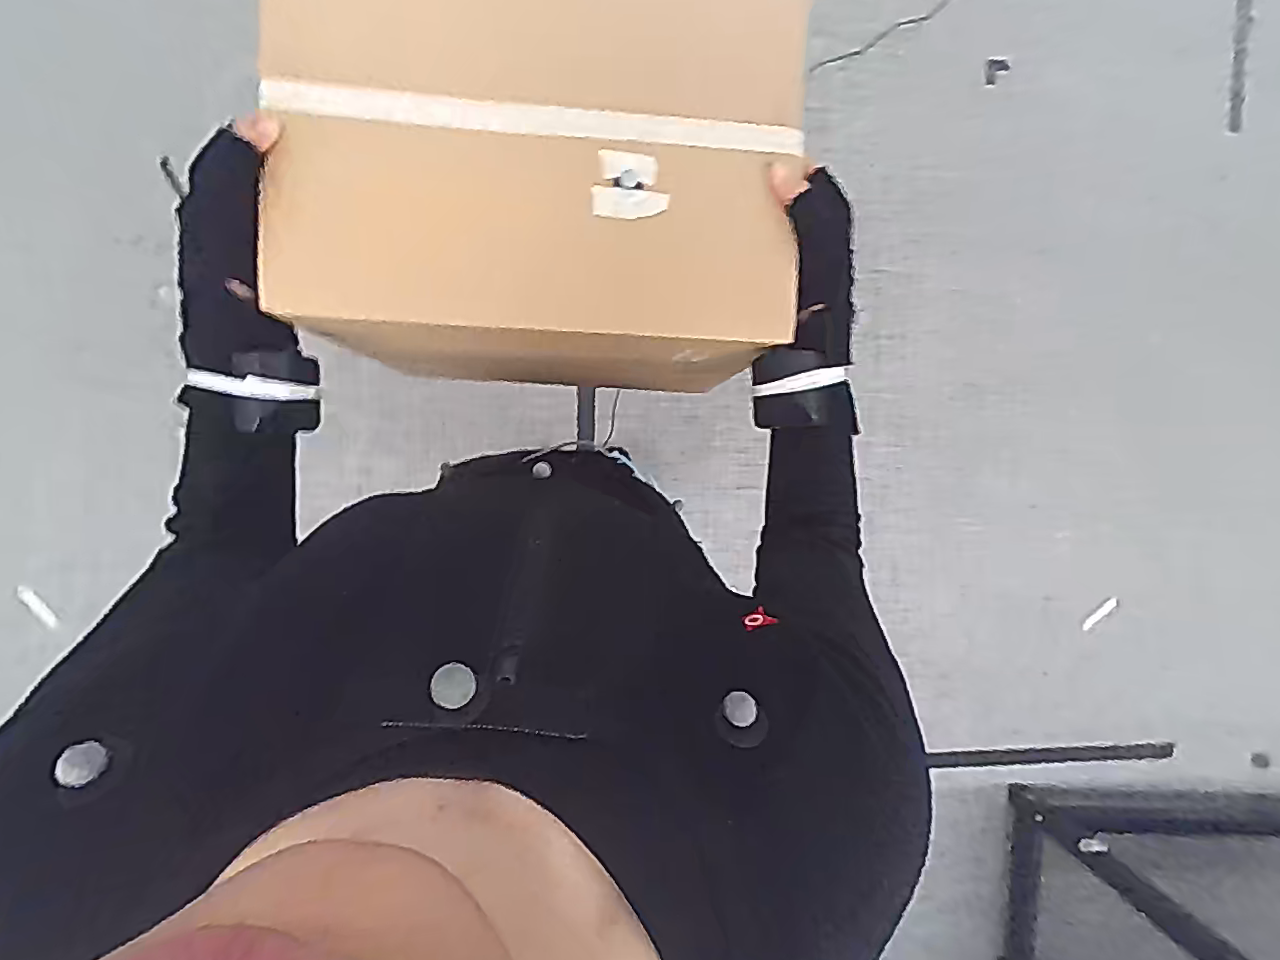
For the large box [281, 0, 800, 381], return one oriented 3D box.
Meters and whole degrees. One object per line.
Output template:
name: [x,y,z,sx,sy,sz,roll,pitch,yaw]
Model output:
large box: [-0.087,-0.286,0.572,0.408,0.320,0.320,2,93,-6]
